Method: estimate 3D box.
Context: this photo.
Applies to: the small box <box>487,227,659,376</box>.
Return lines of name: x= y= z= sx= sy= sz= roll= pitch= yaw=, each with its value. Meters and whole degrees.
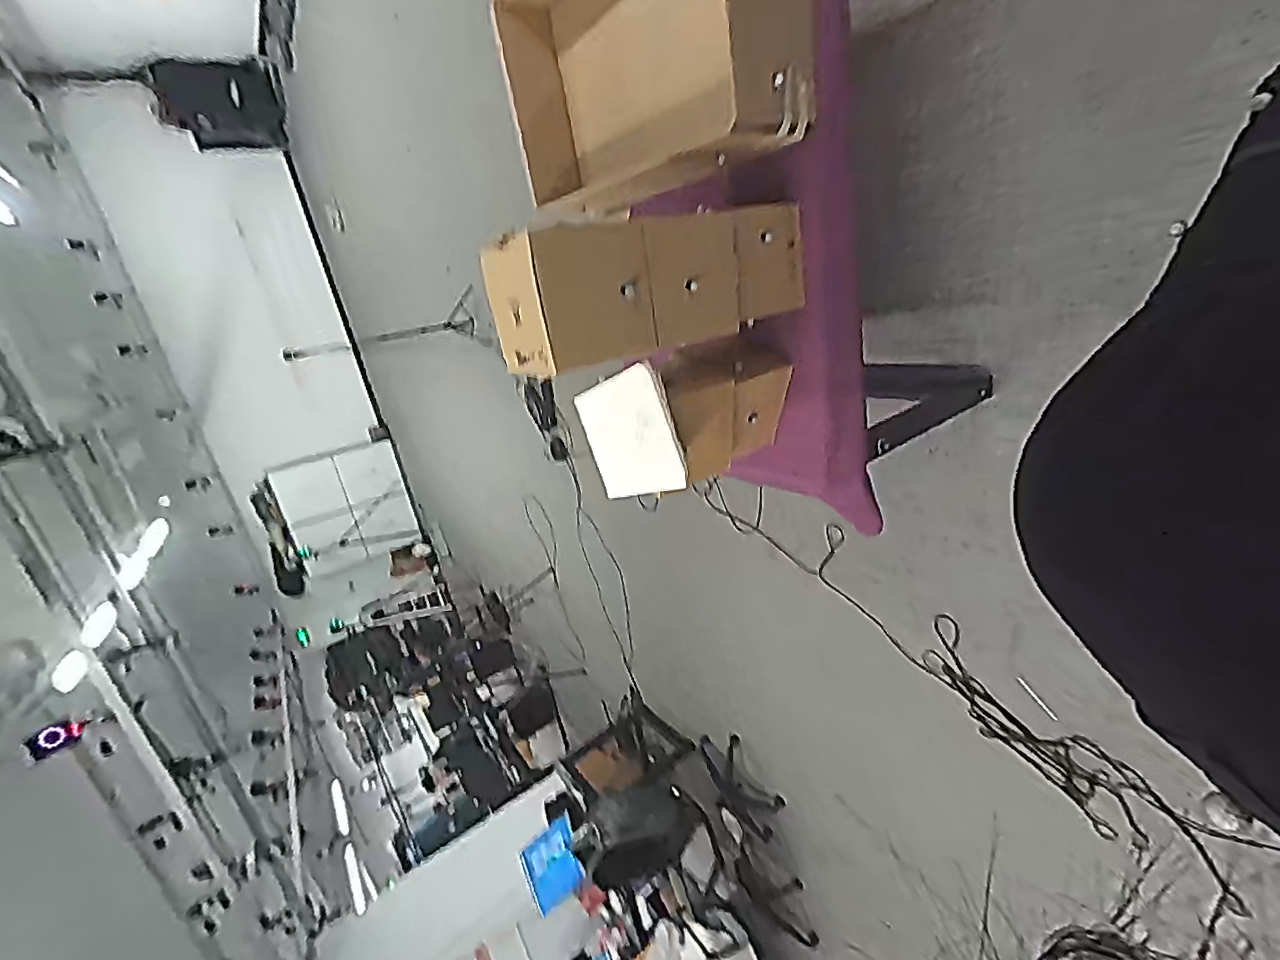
small box: x=-0.092 y=-0.252 z=0.765 sx=0.168 sy=0.176 sz=0.179 roll=19 pitch=123 yaw=54

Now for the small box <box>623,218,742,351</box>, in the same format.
small box: x=0.040 y=-0.303 z=0.847 sx=0.168 sy=0.176 sz=0.179 roll=18 pitch=123 yaw=54

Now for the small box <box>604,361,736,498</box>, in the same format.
small box: x=0.055 y=-0.099 z=0.958 sx=0.168 sy=0.176 sz=0.179 roll=32 pitch=134 yaw=45
